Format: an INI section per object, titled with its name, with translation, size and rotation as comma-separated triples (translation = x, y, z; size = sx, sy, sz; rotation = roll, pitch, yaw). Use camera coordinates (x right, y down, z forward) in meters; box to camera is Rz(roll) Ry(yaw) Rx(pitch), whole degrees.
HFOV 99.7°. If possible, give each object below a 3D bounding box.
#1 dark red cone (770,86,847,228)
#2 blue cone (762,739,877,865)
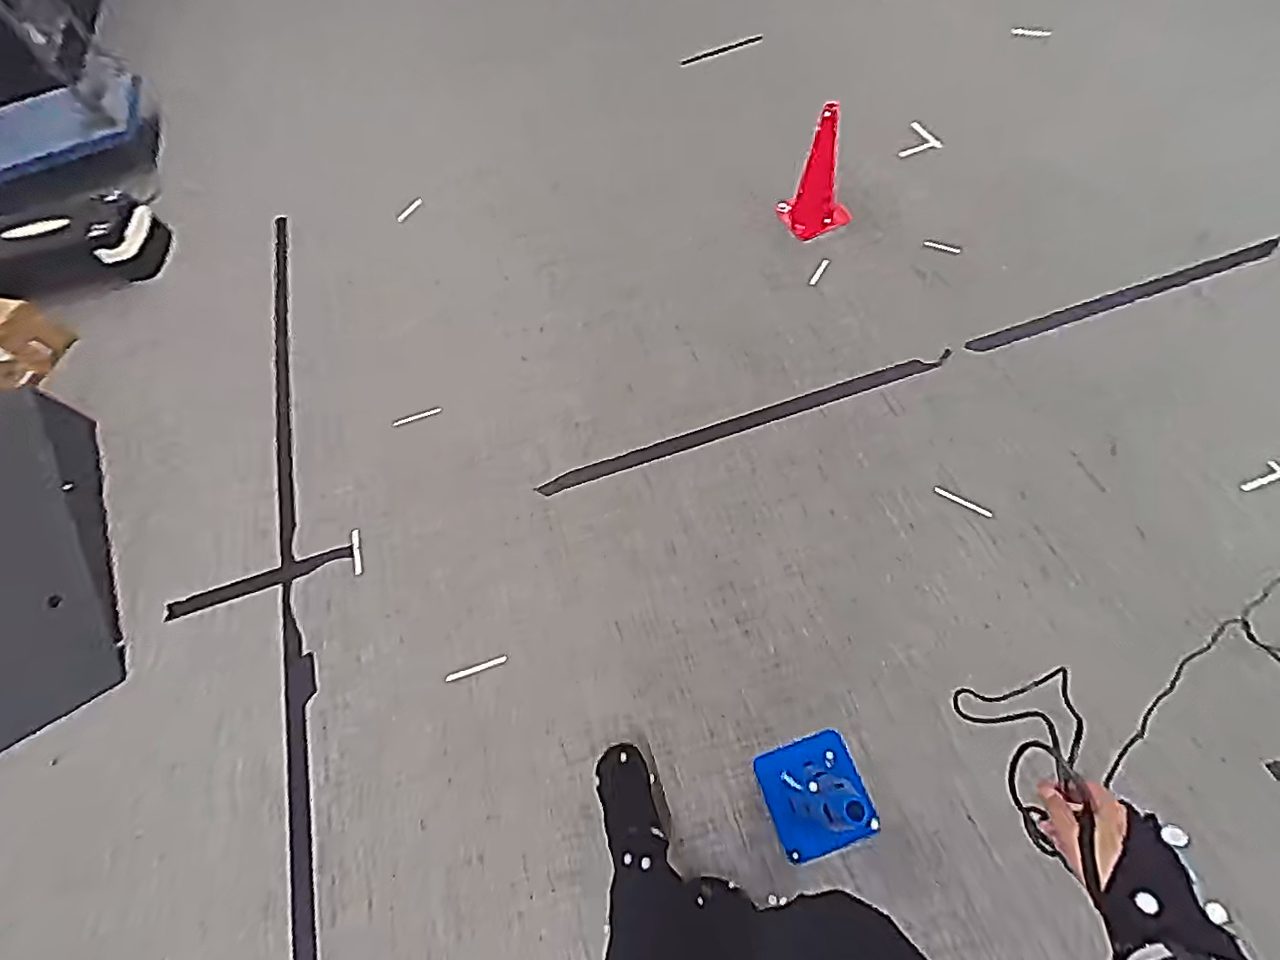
[dark red cone]
translation = 0.553, -1.010, 1.691
size = 0.202, 0.394, 0.201
rotation = -26, 64, -6
[blue cone]
translation = 0.340, 0.571, 0.948
size = 0.193, 0.380, 0.192
rotation = -19, 64, -2
